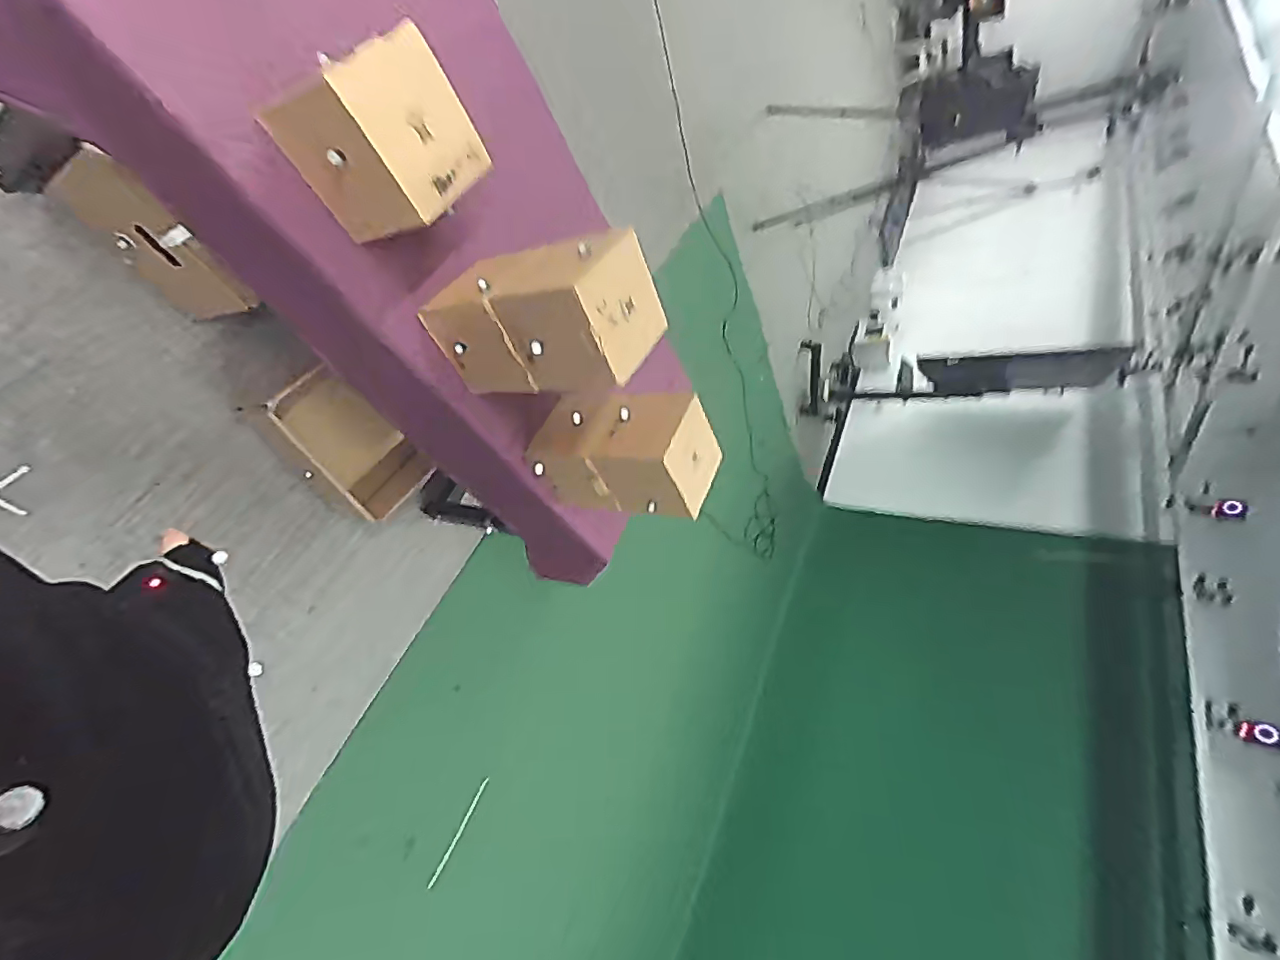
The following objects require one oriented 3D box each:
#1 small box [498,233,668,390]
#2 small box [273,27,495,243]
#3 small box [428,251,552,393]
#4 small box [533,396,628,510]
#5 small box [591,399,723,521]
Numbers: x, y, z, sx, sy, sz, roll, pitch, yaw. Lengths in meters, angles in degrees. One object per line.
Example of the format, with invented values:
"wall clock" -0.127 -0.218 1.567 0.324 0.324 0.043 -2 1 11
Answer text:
"small box" -0.085 -0.258 0.845 0.179 0.176 0.168 -57 137 -33
"small box" -0.341 -0.451 0.730 0.168 0.176 0.179 -61 139 -28
"small box" -0.224 -0.269 0.933 0.179 0.176 0.168 -57 138 -32
"small box" -0.100 -0.059 1.143 0.179 0.176 0.168 -63 140 -29
"small box" 0.037 -0.044 1.055 0.168 0.176 0.179 -62 139 -30
